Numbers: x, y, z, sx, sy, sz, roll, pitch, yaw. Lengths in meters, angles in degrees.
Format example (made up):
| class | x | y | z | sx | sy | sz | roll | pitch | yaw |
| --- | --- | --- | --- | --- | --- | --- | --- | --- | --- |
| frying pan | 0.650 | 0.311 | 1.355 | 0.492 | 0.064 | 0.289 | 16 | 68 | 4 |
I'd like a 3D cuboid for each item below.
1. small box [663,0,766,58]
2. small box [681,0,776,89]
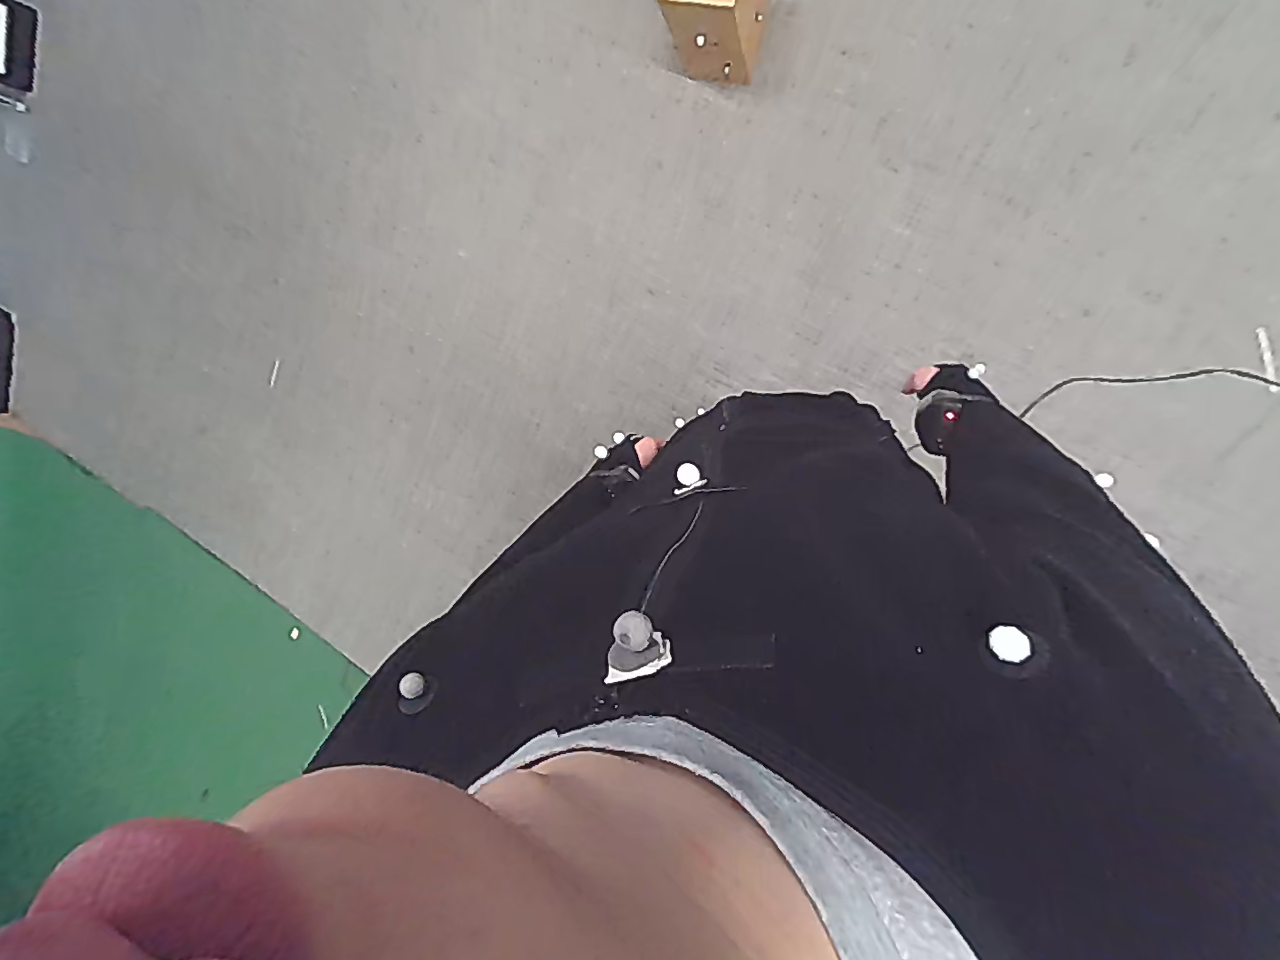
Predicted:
| class | x | y | z | sx | sy | sz | roll | pitch | yaw |
| --- | --- | --- | --- | --- | --- | --- | --- | --- | --- |
| small box | 0.164 | -1.015 | 1.106 | 0.168 | 0.176 | 0.179 | 19 | 108 | 14 |
| small box | 0.212 | -1.051 | 1.260 | 0.168 | 0.176 | 0.179 | 18 | 105 | 14 |
